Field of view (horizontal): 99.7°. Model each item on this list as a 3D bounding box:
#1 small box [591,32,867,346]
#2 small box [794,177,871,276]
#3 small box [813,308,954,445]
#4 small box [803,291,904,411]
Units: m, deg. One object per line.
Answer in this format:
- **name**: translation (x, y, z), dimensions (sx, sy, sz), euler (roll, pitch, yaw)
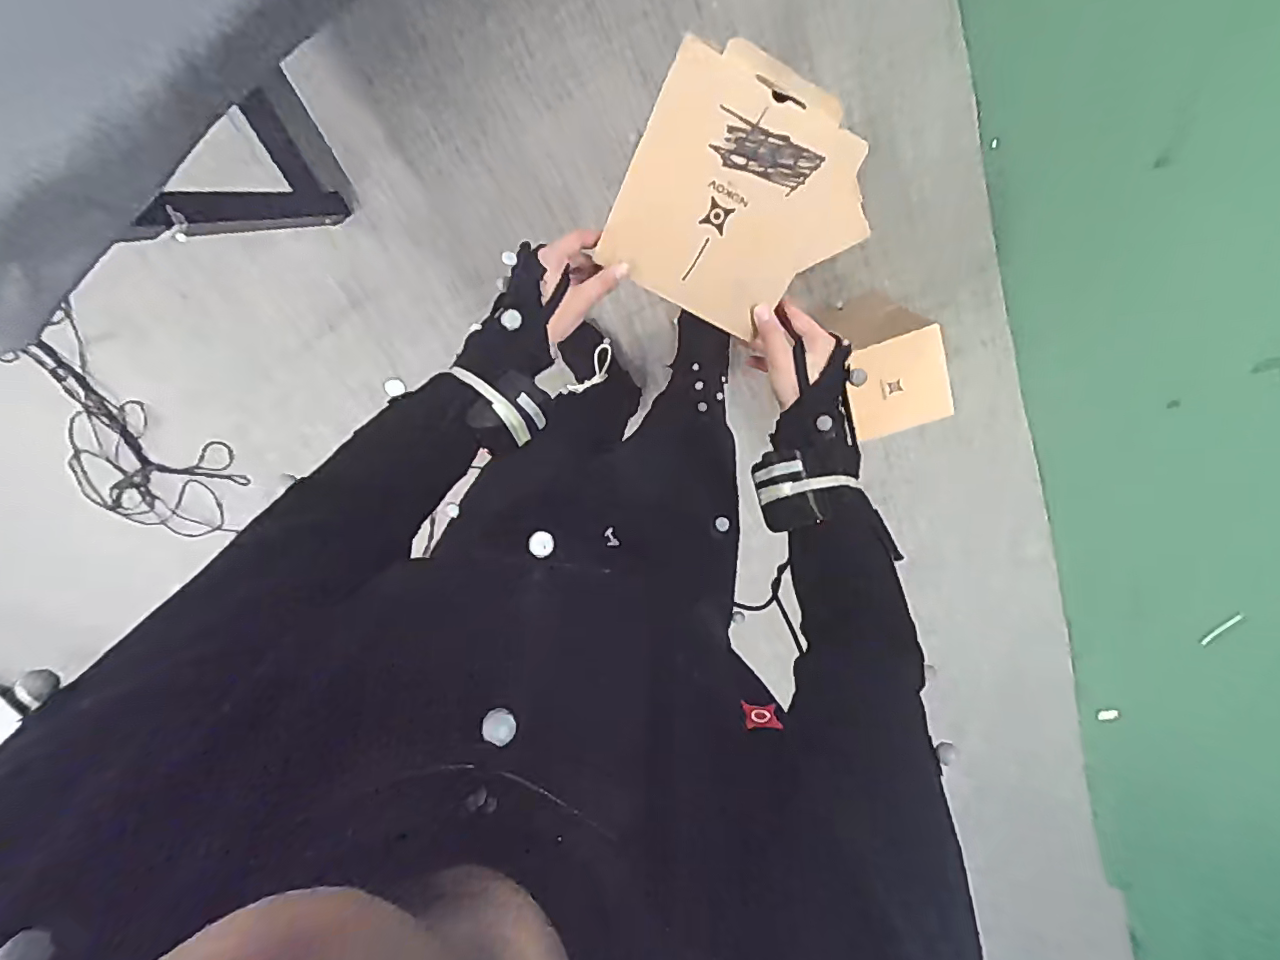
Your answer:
- **small box**: translation (0.068, -0.258, 0.506), dimensions (0.168, 0.176, 0.179), euler (24, 117, -10)
- **small box**: translation (0.300, -0.494, 1.009), dimensions (0.179, 0.176, 0.168), euler (-23, 111, 19)
- **small box**: translation (0.426, -0.190, 0.964), dimensions (0.179, 0.176, 0.168), euler (-18, 114, 16)
- **small box**: translation (0.443, -0.267, 1.107), dimensions (0.179, 0.176, 0.168), euler (-18, 114, 18)
